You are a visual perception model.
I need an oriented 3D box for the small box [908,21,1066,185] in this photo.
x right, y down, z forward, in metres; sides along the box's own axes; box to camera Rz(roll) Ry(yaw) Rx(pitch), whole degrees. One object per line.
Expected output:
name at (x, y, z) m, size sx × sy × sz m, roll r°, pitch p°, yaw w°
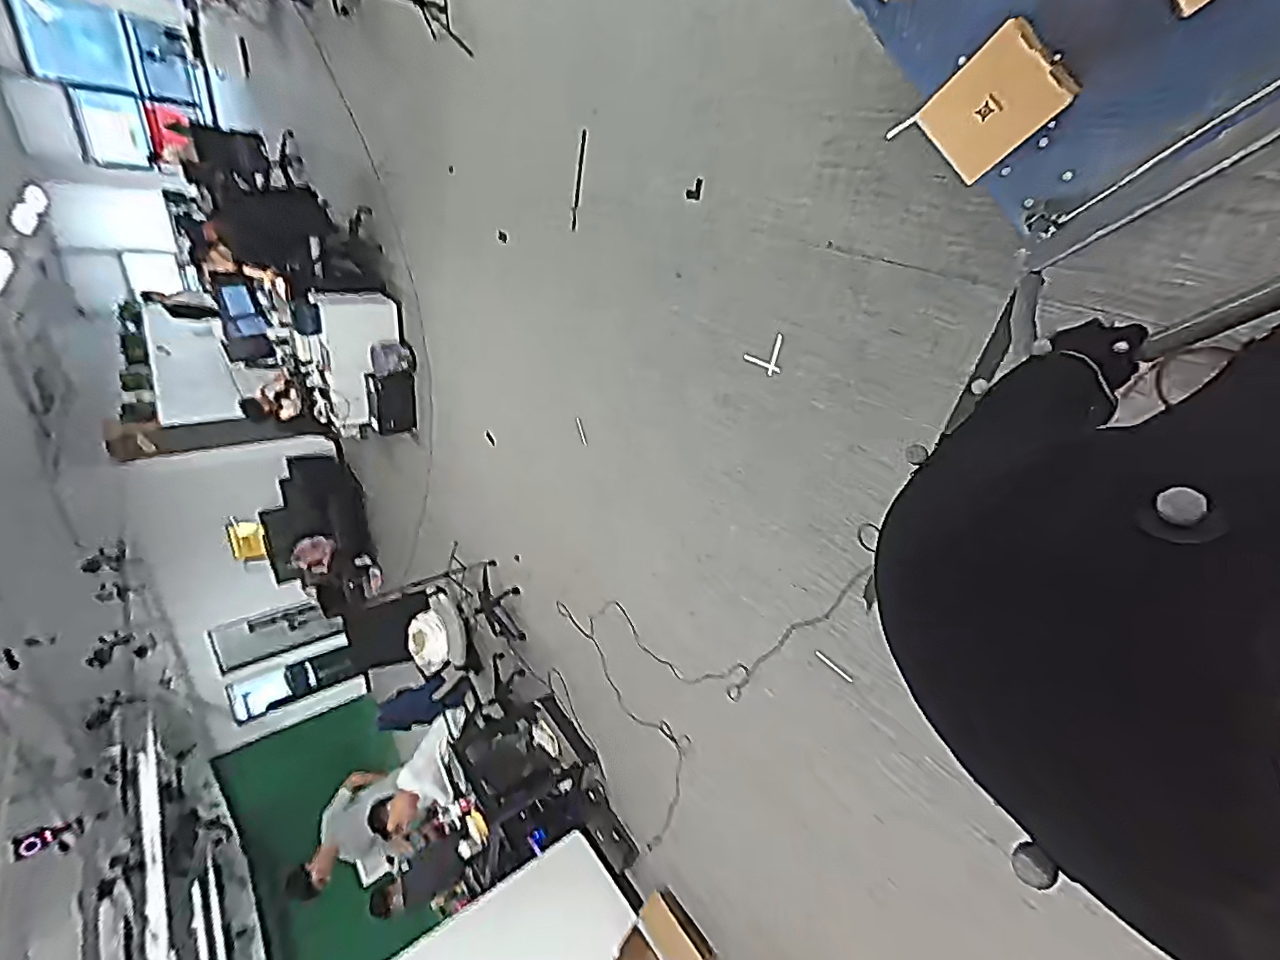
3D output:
small box at (0.630, -0.677, 0.979) m, size 0.168 × 0.176 × 0.179 m, roll 49°, pitch 140°, yaw -3°

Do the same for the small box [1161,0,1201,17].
small box at (0.804, -0.780, 0.733) m, size 0.168 × 0.176 × 0.179 m, roll 53°, pitch 140°, yaw -9°
